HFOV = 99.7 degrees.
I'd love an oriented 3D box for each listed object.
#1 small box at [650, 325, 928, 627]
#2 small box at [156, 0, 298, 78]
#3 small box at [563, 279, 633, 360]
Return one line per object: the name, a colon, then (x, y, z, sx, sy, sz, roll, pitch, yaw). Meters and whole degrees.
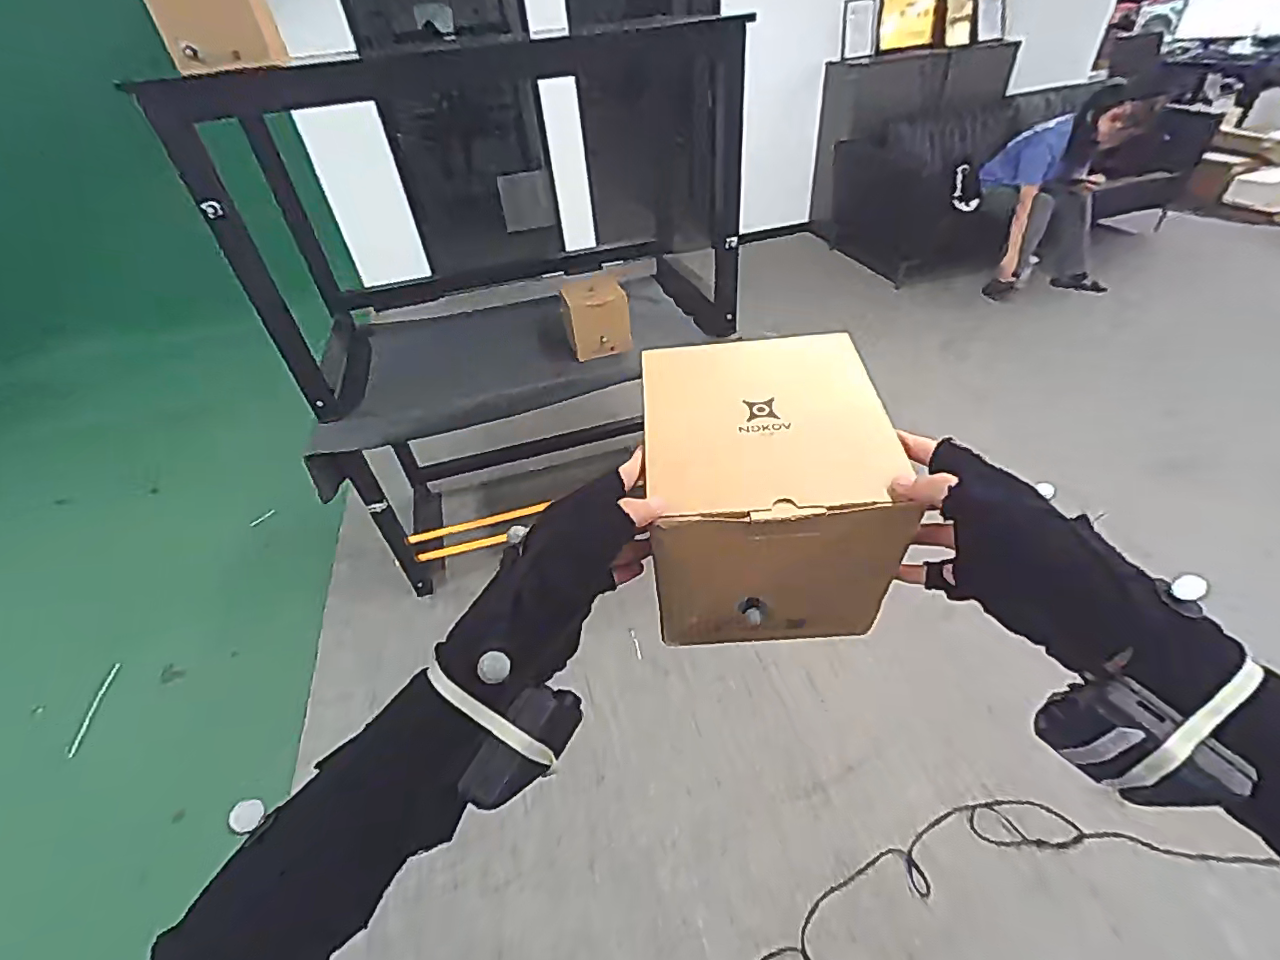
small box: (0.095, -0.002, 0.440, 0.168, 0.176, 0.179, -5, 48, 3)
small box: (-0.786, -0.881, 1.031, 0.168, 0.176, 0.179, -14, 40, -11)
small box: (-0.124, -0.477, 1.607, 0.168, 0.176, 0.179, -15, 40, -9)
